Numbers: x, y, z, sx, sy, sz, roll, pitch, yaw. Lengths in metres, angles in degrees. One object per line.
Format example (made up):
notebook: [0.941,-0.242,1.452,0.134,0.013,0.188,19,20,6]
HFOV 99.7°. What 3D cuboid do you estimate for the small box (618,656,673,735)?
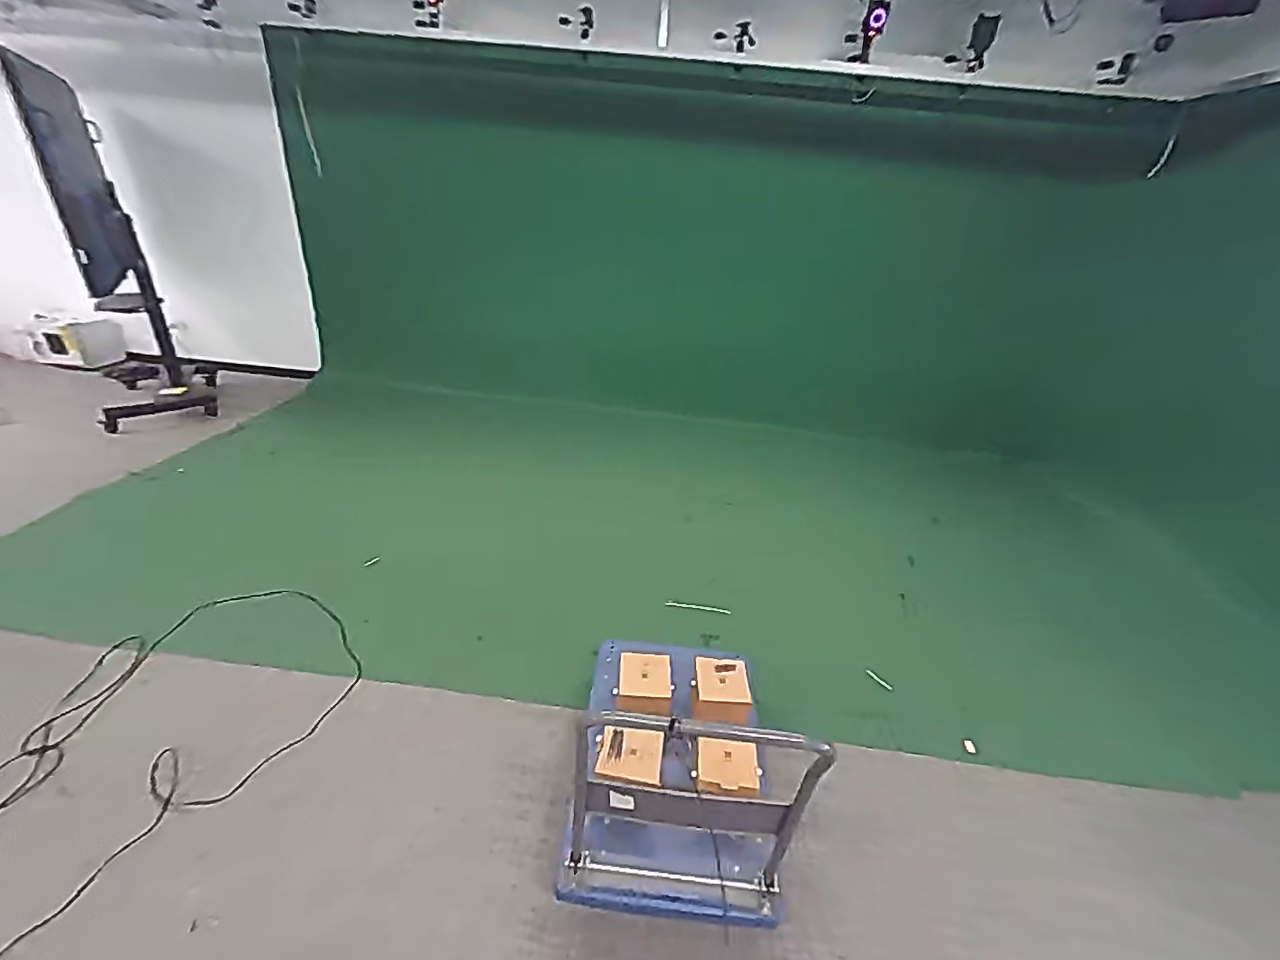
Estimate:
small box: [0.017,0.704,1.765,0.168,0.176,0.179,5,28,-1]

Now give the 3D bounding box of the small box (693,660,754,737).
small box: [0.268,0.720,1.771,0.168,0.176,0.179,3,29,-1]

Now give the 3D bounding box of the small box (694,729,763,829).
small box: [0.246,0.846,1.533,0.168,0.176,0.179,6,29,3]
